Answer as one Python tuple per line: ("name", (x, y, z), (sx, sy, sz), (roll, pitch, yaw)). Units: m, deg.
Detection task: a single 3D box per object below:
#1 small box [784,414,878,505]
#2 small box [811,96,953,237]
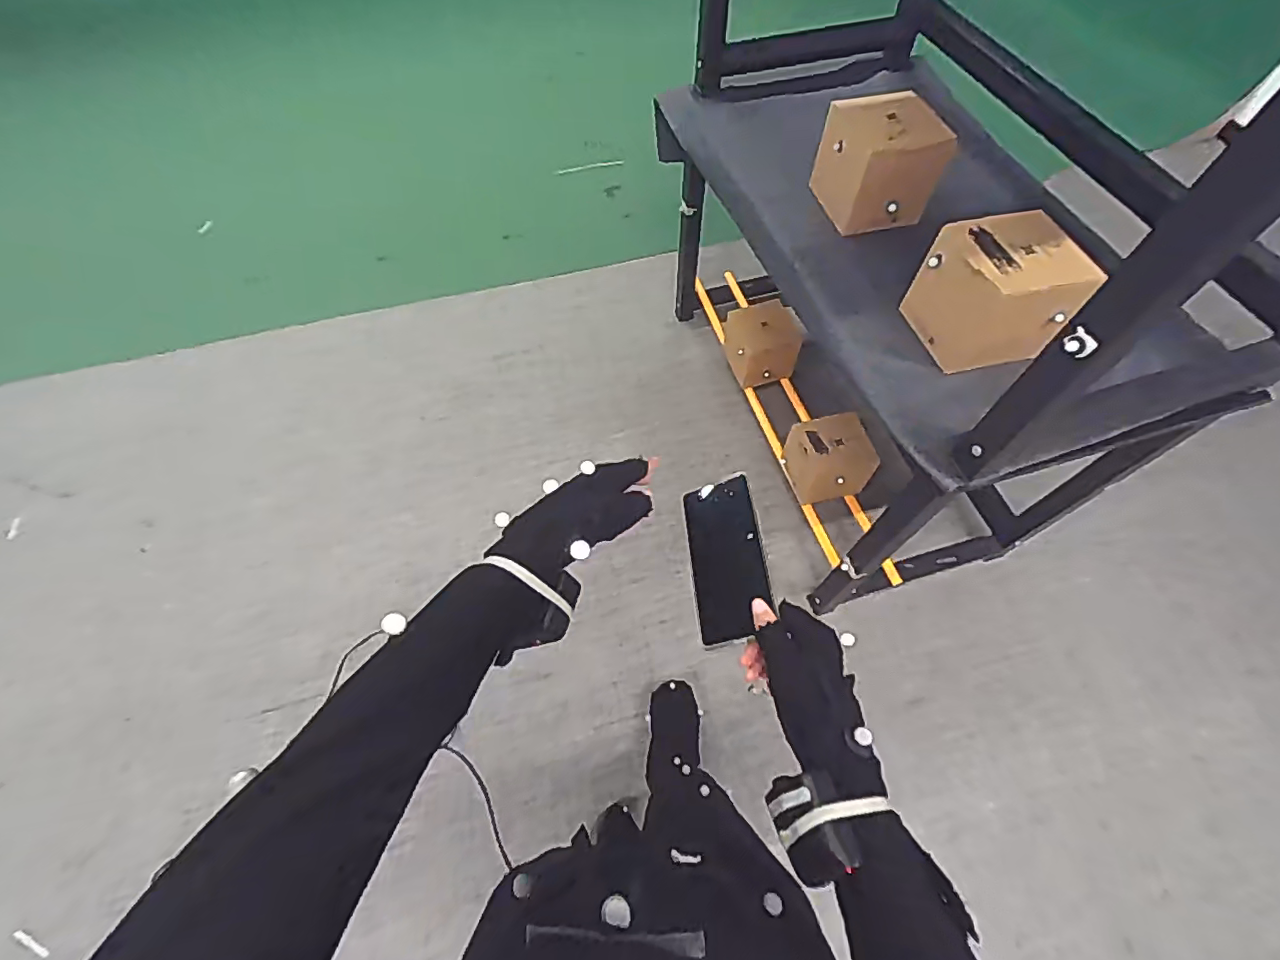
("small box", (0.500, -0.051, 1.456), (0.179, 0.176, 0.168), (-12, 61, -6))
("small box", (0.457, -0.609, 1.058), (0.168, 0.176, 0.179), (-12, 61, -6))
